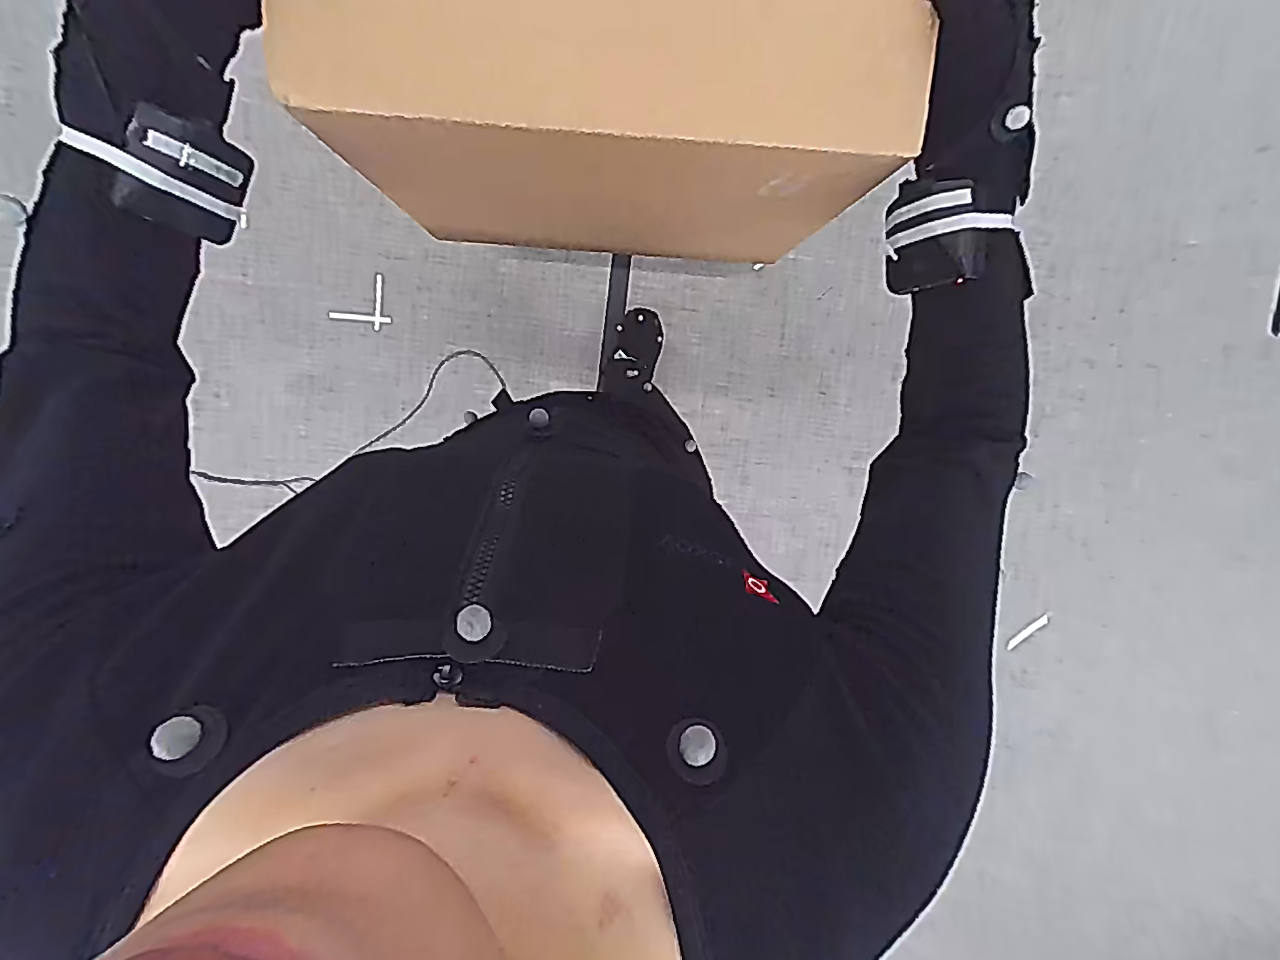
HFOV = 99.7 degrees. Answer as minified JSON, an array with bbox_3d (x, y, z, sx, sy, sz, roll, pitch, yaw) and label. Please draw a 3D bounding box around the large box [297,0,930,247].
[{"bbox_3d":[-0.018,-0.408,0.470,0.408,0.320,0.320,2,100,-4],"label":"large box"}]
